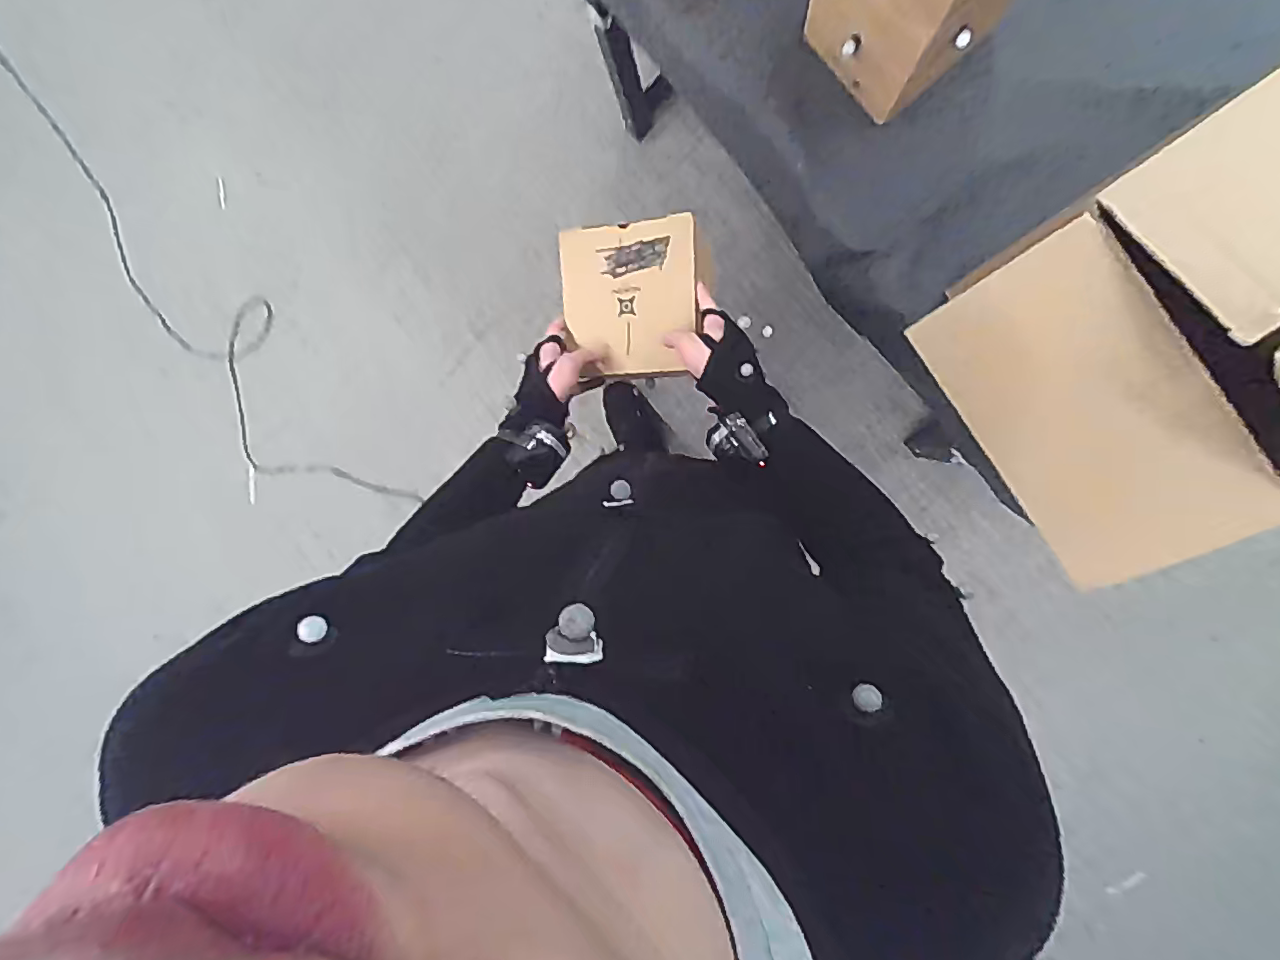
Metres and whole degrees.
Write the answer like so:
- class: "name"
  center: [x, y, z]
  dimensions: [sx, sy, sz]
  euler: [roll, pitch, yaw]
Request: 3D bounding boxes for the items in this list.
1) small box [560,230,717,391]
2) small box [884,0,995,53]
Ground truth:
- class: "small box"
  center: [0.006, -0.208, 0.711]
  dimensions: [0.168, 0.176, 0.179]
  euler: [1, 101, 17]
- class: "small box"
  center: [0.294, -0.529, 0.456]
  dimensions: [0.179, 0.176, 0.168]
  euler: [-41, 91, 10]
